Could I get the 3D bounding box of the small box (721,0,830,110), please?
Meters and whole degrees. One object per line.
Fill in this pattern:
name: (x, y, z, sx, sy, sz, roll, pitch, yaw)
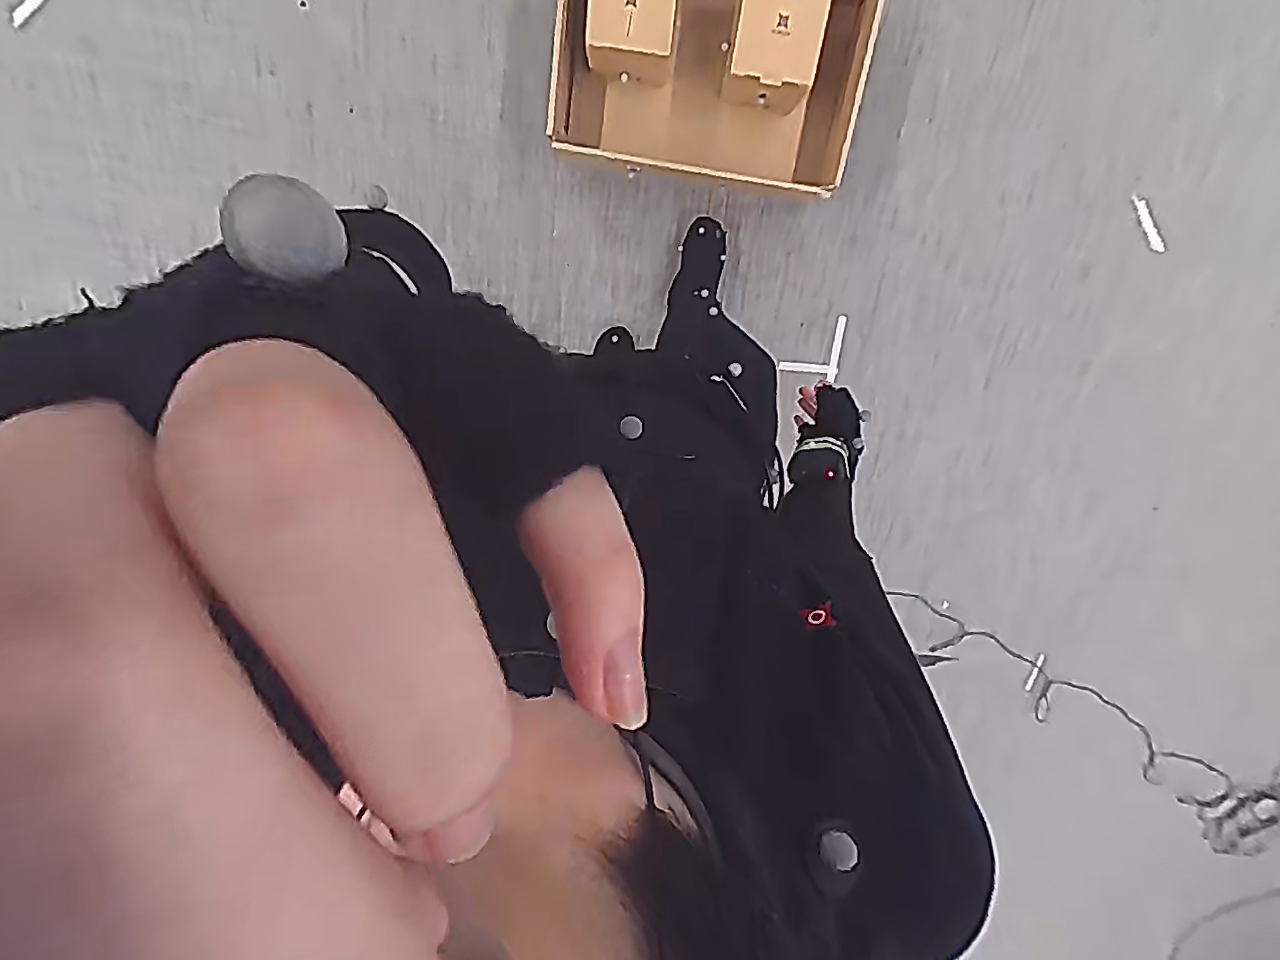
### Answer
small box: (0.265, -0.880, 1.094, 0.168, 0.176, 0.179, 9, 111, -3)
